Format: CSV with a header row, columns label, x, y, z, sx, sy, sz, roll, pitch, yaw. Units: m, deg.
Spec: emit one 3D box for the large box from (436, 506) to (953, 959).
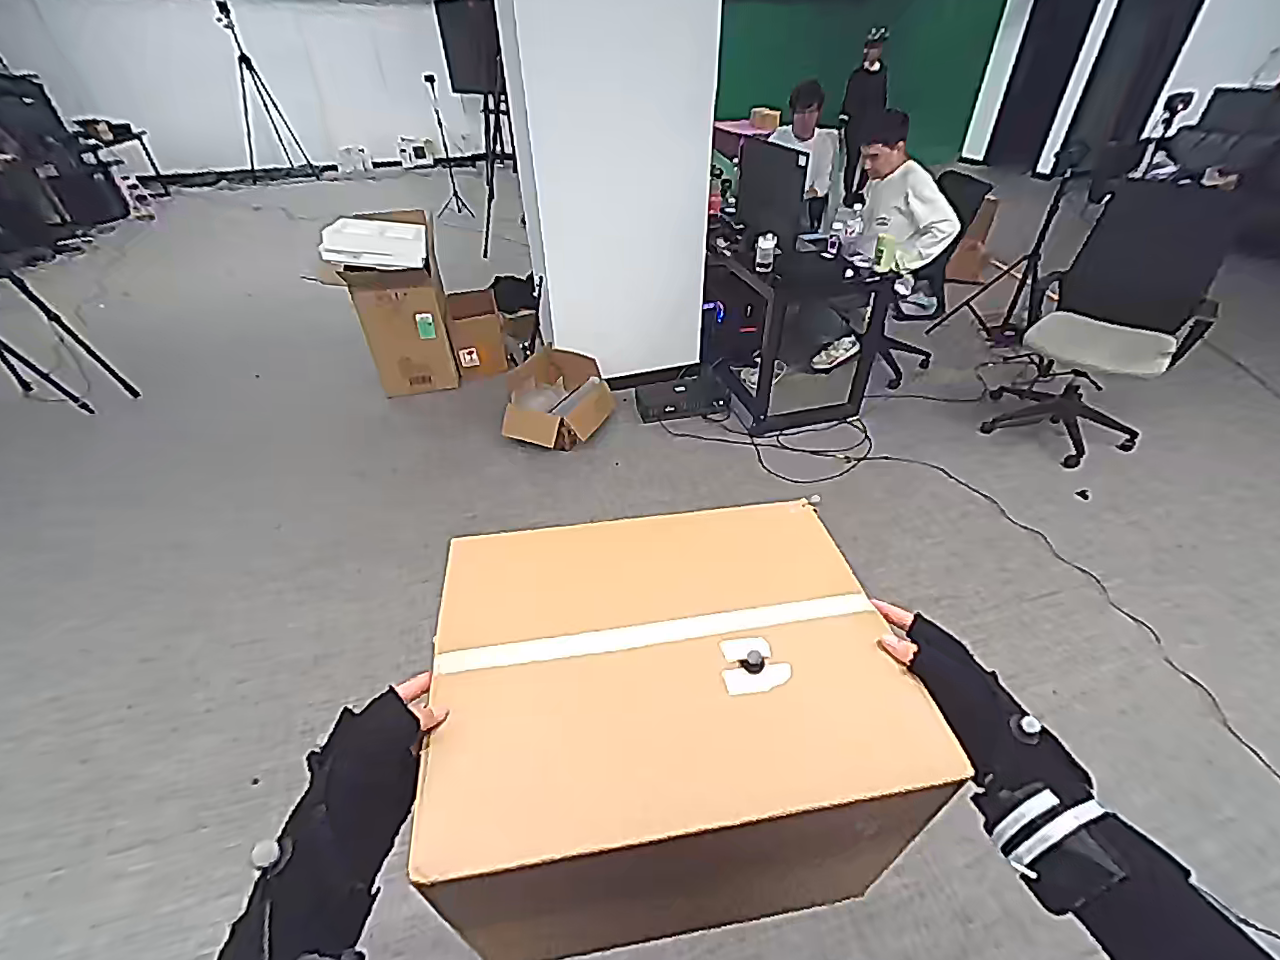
label,x,y,z,sx,sy,sz,roll,pitch,yaw
large box,0.025,0.262,0.599,0.408,0.320,0.320,-6,40,-8
